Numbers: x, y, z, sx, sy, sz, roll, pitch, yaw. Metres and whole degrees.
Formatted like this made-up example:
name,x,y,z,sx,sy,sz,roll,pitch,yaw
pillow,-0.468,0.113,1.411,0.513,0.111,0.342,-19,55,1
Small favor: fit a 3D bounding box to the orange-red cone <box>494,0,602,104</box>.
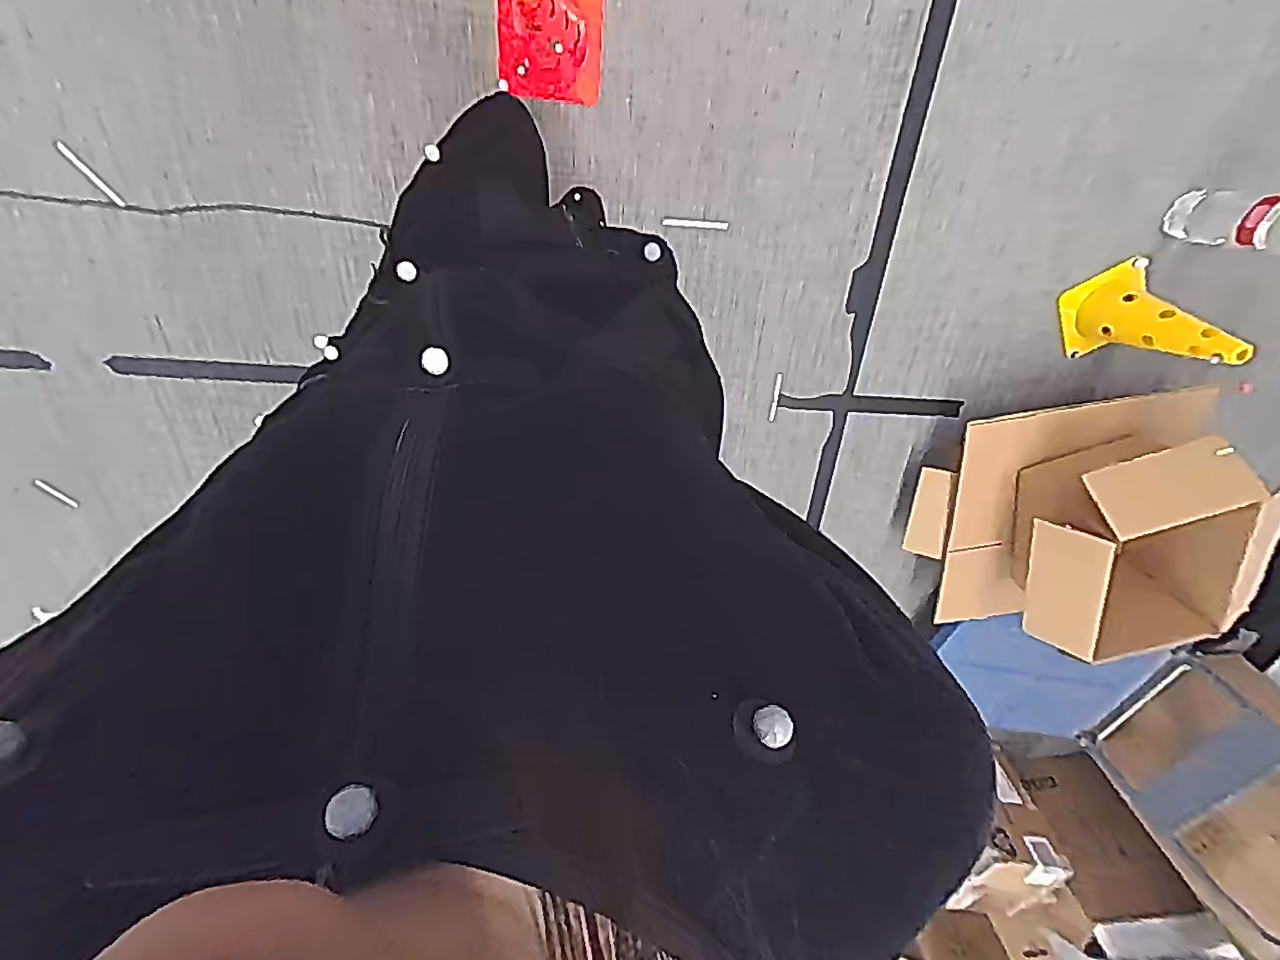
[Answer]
name,x,y,z,sx,sy,sz,roll,pitch,yaw
orange-red cone,-0.165,-0.753,0.879,0.199,0.360,0.198,5,121,-7
